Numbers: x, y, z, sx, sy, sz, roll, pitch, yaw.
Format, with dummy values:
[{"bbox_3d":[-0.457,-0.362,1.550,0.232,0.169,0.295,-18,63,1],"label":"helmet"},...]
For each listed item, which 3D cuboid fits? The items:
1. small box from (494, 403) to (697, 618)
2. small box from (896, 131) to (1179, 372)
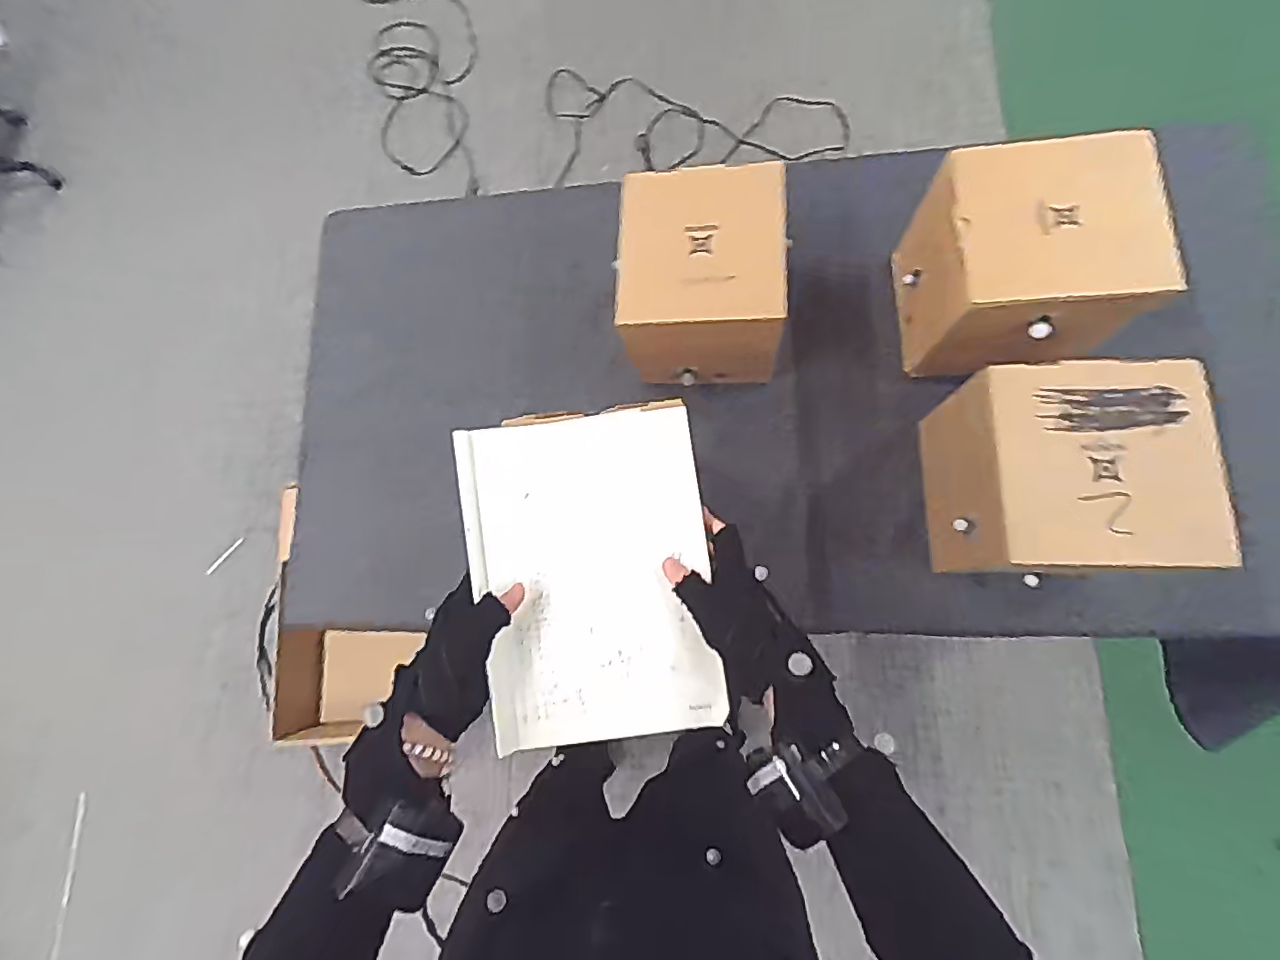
[{"bbox_3d":[-0.039,0.037,0.545,0.168,0.176,0.179,-7,81,2],"label":"small box"},{"bbox_3d":[0.394,-0.224,0.572,0.179,0.176,0.168,-2,78,9],"label":"small box"}]
